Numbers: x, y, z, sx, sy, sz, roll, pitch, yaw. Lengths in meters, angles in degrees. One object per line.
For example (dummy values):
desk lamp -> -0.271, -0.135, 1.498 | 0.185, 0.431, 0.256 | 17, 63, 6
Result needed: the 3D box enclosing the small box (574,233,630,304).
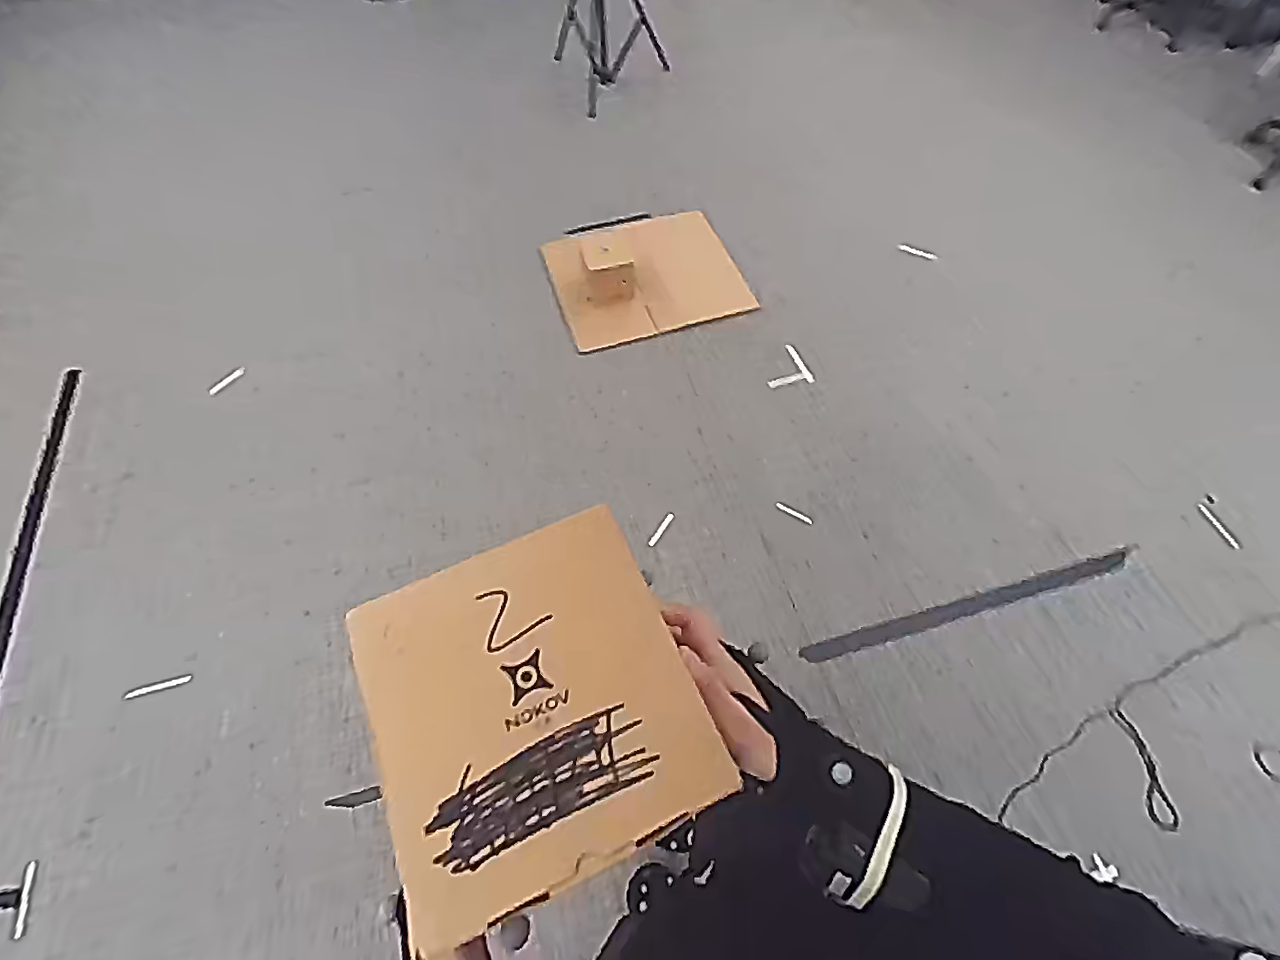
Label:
small box -> -0.135, -0.769, 1.982 | 0.168, 0.176, 0.179 | -15, 61, -10
